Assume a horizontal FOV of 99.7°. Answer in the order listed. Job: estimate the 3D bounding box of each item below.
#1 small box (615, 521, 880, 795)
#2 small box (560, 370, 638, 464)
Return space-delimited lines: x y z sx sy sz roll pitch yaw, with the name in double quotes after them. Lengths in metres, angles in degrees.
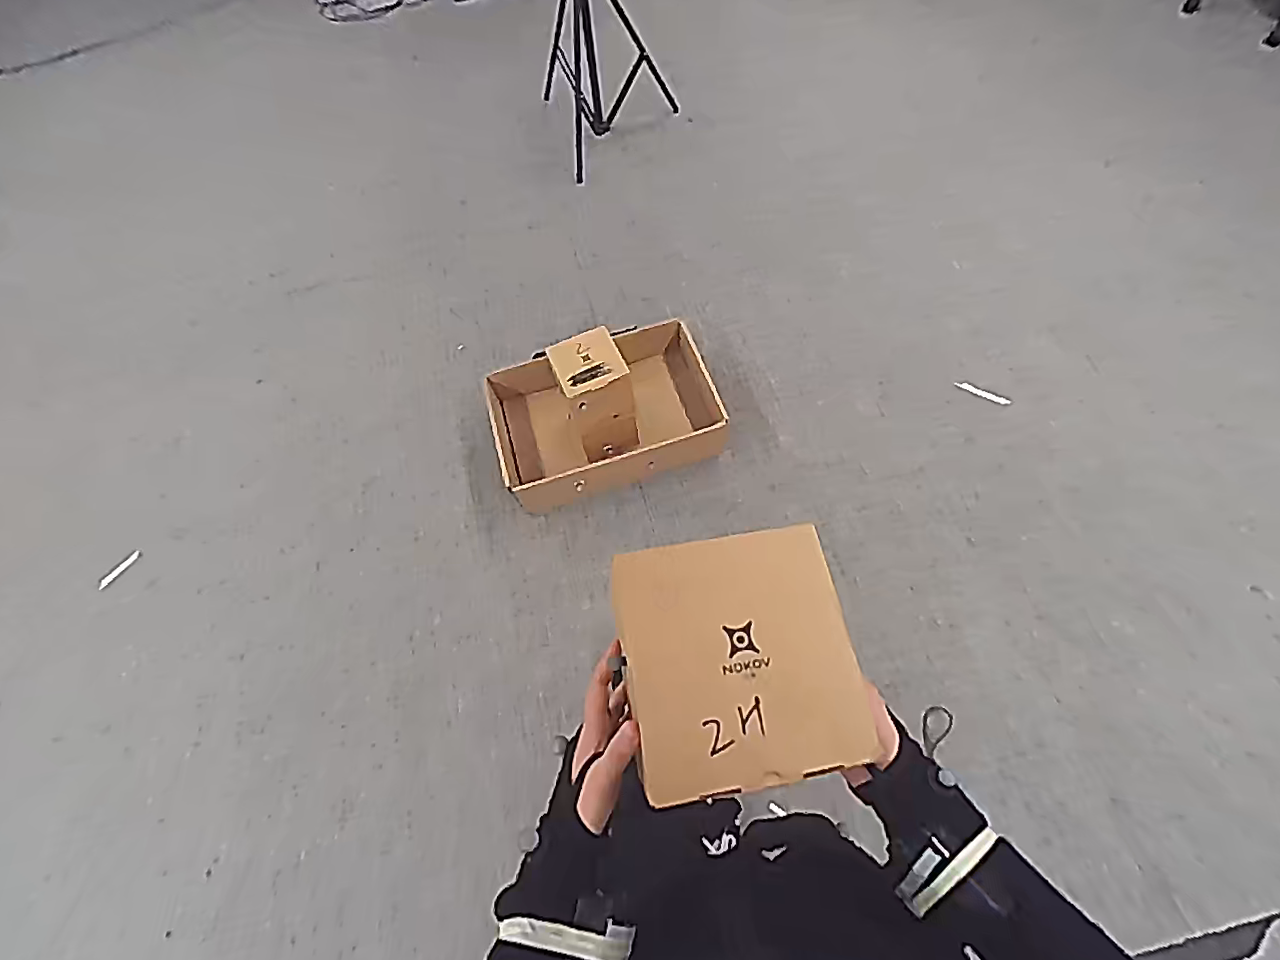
0.070 0.153 0.472 0.168 0.176 0.179 -8 69 -6 "small box"
-0.115 -0.176 1.551 0.168 0.176 0.179 -23 65 -6 "small box"
